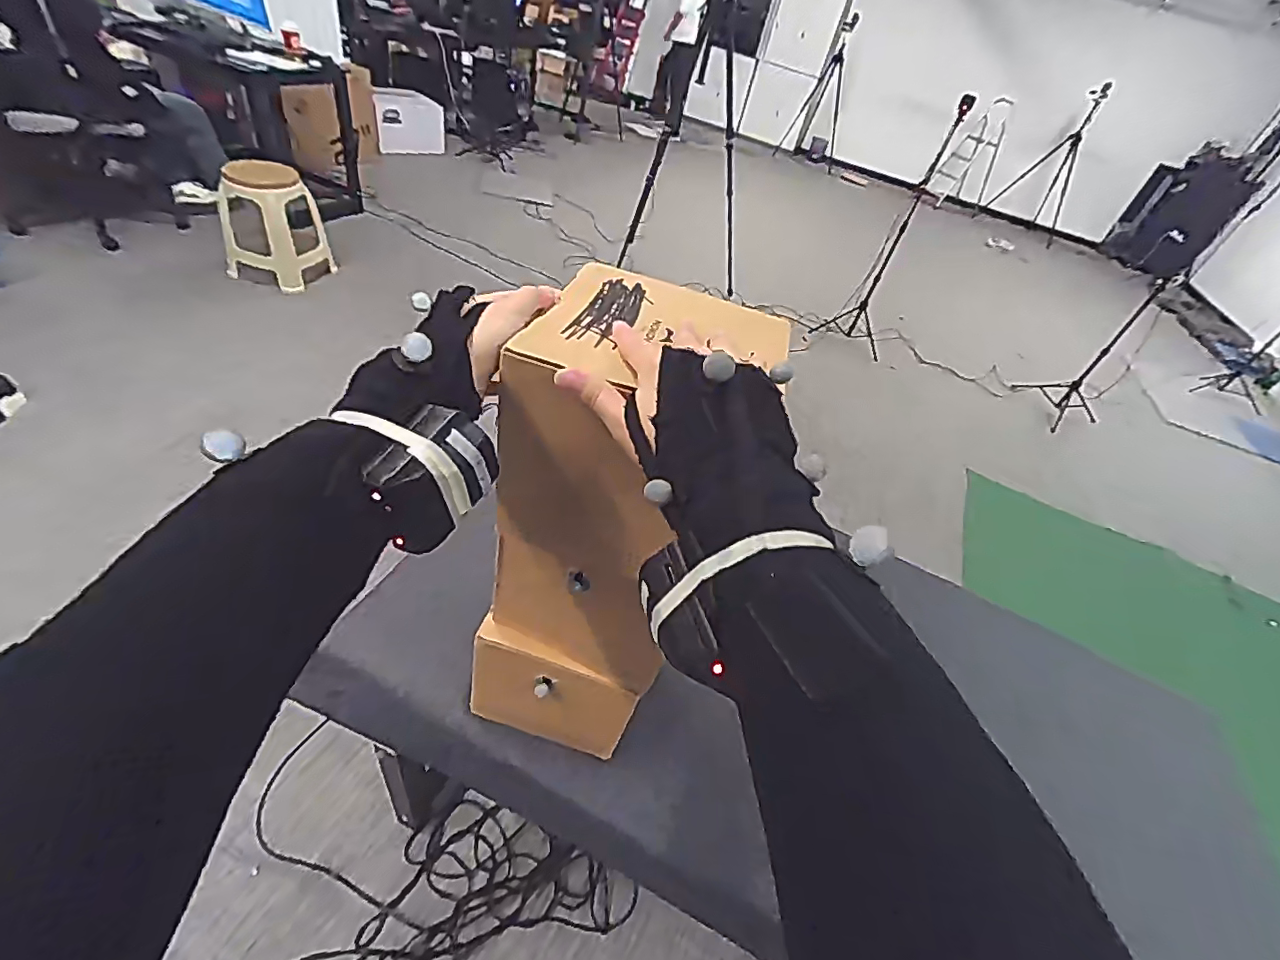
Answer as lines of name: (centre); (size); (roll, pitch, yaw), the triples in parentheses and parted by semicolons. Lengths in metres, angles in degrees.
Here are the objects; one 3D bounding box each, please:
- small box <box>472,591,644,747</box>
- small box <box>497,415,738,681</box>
small box: (-0.081, 0.188, 0.639); (0.179, 0.176, 0.168); (18, 41, 2)
small box: (-0.028, 0.068, 0.542); (0.179, 0.176, 0.168); (24, 42, 8)
